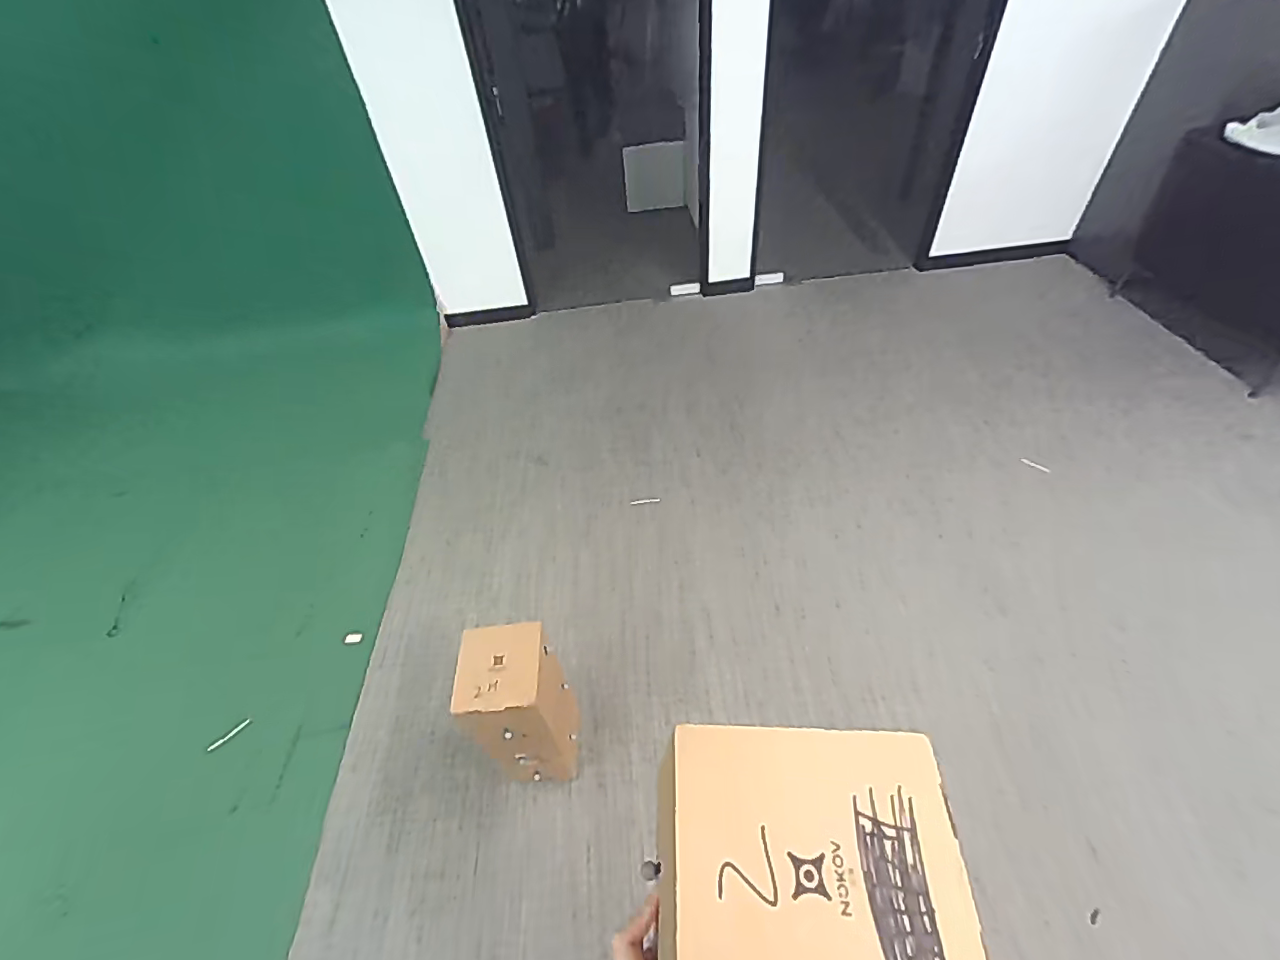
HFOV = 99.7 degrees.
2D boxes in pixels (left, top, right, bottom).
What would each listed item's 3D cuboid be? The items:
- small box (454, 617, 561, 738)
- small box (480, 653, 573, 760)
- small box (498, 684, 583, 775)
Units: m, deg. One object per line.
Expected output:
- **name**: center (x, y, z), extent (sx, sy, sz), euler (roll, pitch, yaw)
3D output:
- **small box**: center (-0.263, 0.409, 1.116), extent (0.168, 0.176, 0.179), euler (-7, 46, 2)
- **small box**: center (-0.251, 0.519, 1.238), extent (0.168, 0.176, 0.179), euler (-7, 48, 2)
- **small box**: center (-0.241, 0.629, 1.357), extent (0.168, 0.176, 0.179), euler (-3, 47, 3)
